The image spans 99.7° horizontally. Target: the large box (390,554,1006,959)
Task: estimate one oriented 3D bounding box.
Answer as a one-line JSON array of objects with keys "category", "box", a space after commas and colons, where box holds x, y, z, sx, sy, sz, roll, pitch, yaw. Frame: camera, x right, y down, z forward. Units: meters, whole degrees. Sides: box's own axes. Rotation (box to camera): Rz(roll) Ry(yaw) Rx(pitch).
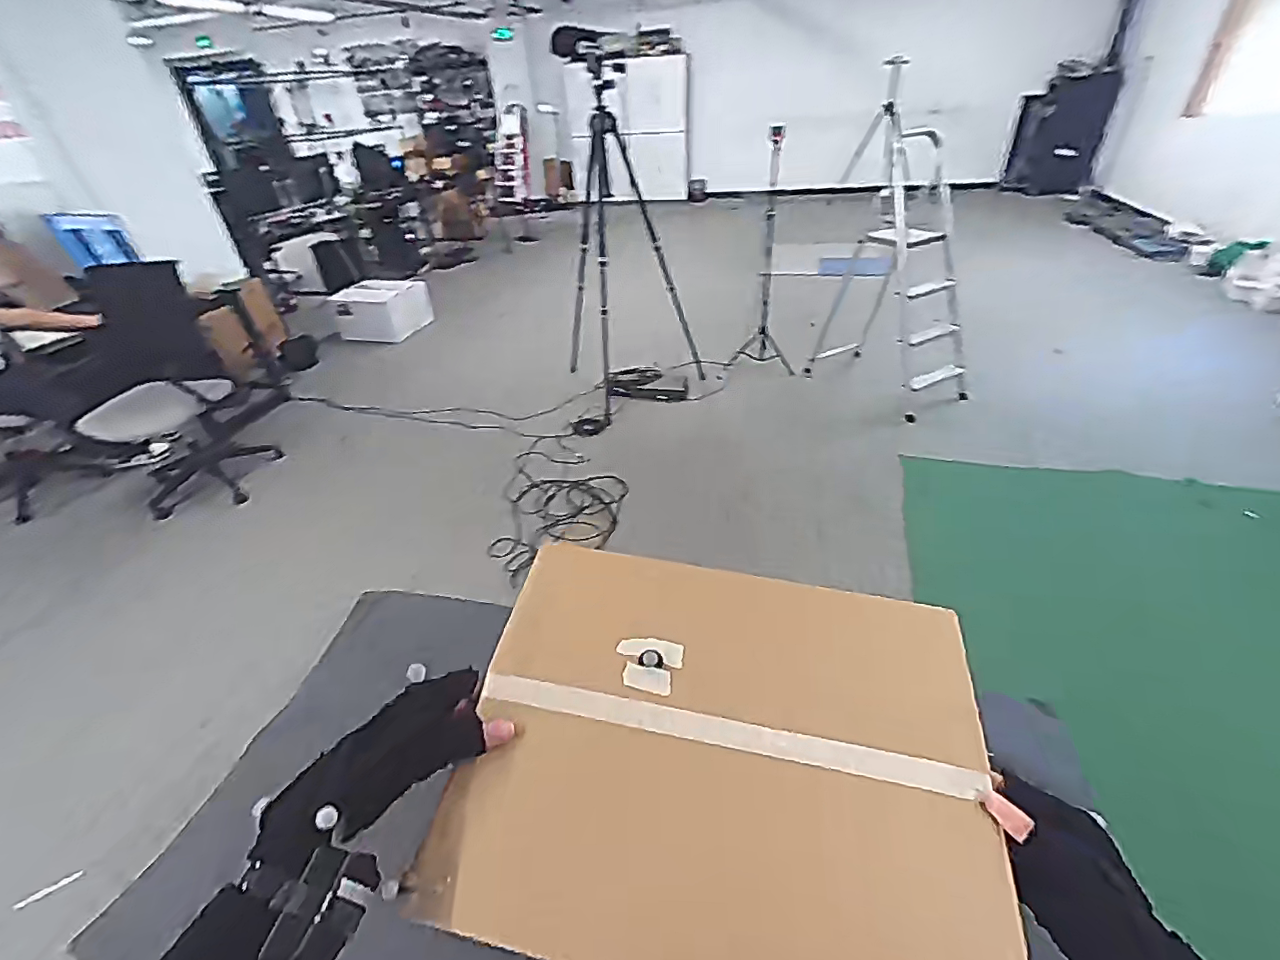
[{"category": "large box", "box": [0.060, 0.308, 0.540, 0.408, 0.320, 0.320, 7, 47, 10]}]
